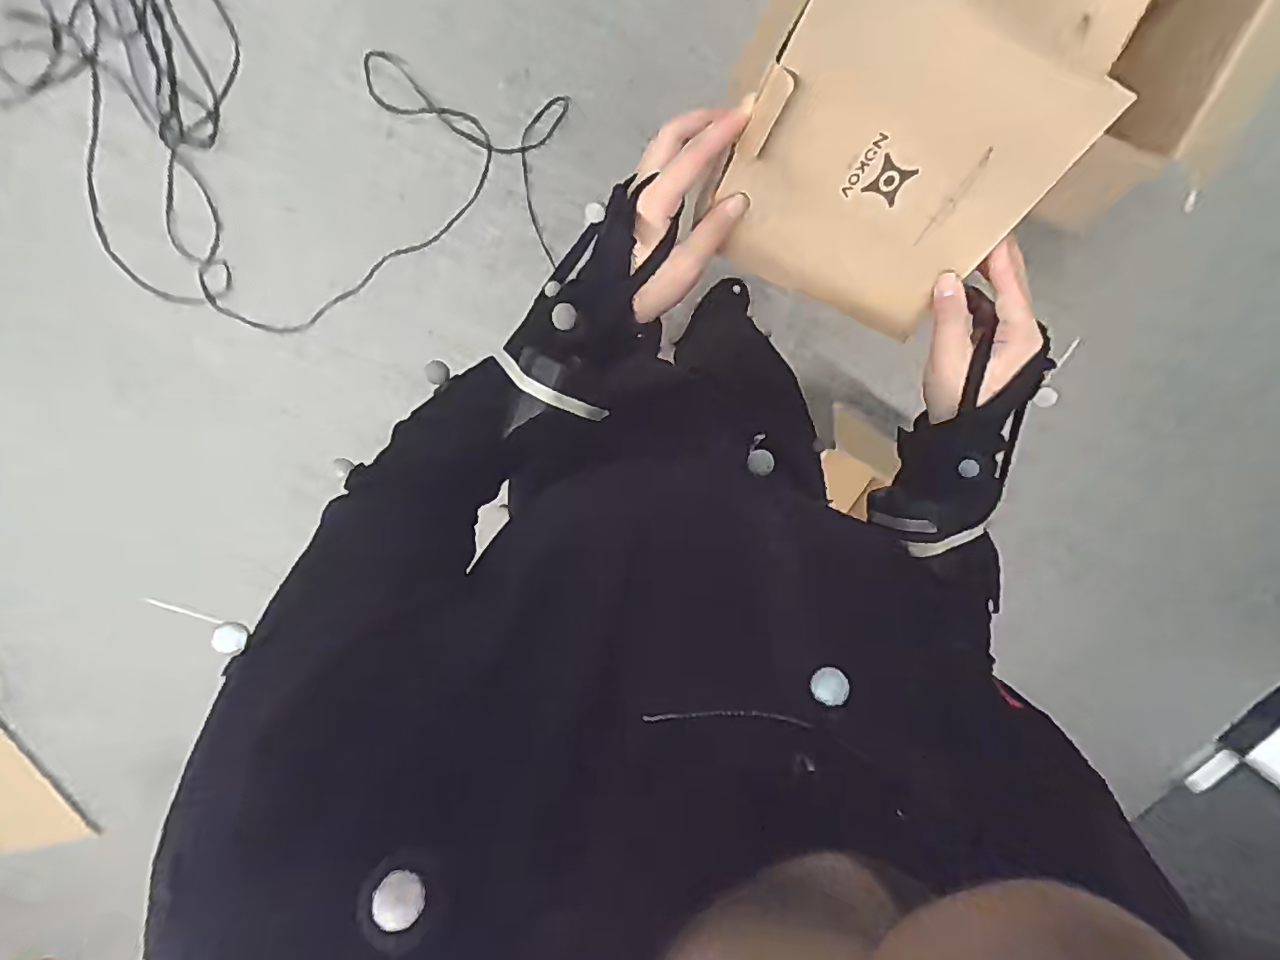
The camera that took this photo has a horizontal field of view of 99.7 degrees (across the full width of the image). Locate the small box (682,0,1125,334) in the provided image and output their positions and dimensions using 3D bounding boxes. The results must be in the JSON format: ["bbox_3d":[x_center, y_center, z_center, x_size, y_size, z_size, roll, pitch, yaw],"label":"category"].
[{"bbox_3d":[0.143,-0.236,0.362,0.179,0.176,0.168,18,138,-12],"label":"small box"}]
